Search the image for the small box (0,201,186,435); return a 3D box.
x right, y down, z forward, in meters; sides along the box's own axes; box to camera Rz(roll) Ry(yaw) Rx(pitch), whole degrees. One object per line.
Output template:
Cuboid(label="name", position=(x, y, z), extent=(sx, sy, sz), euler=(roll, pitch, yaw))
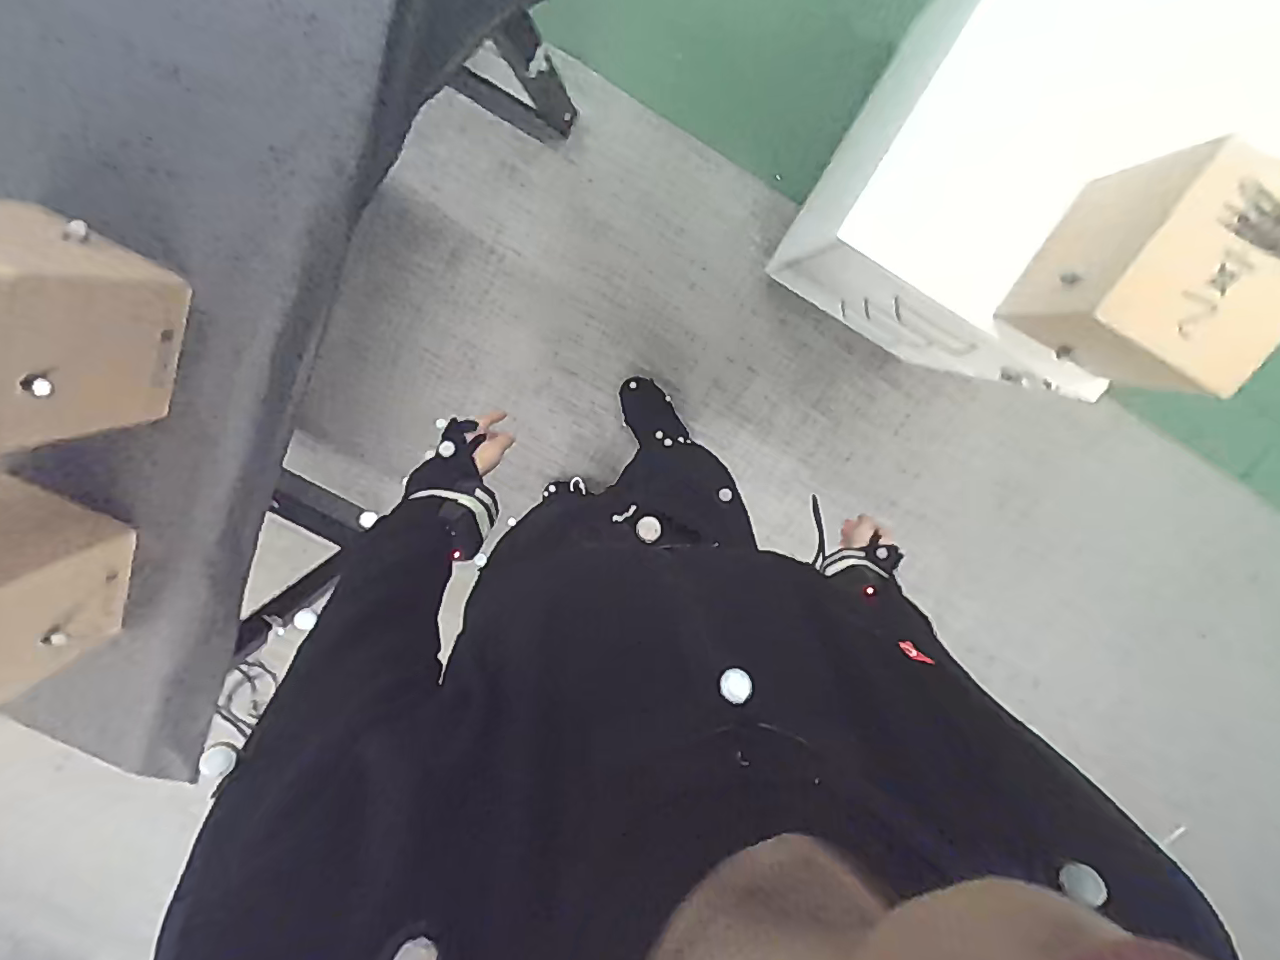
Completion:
Cuboid(label="small box", position=(-0.592, -0.156, 0.506), extent=(0.179, 0.176, 0.168), euler=(27, 106, -4))

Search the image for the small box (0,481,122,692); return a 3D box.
Cuboid(label="small box", position=(-0.737, 0.118, 0.596), extent=(0.179, 0.176, 0.168), euler=(25, 106, -4))
